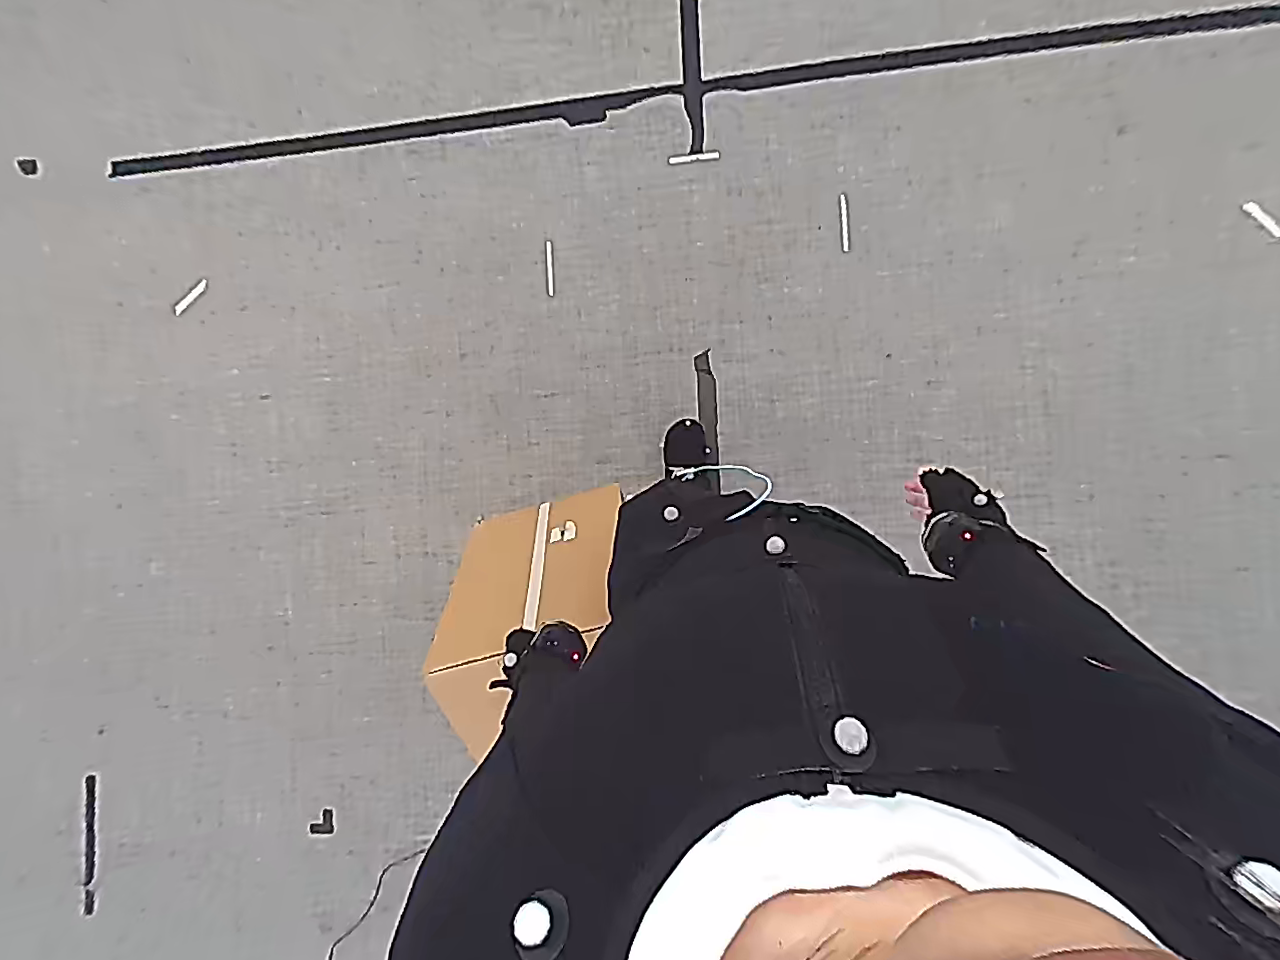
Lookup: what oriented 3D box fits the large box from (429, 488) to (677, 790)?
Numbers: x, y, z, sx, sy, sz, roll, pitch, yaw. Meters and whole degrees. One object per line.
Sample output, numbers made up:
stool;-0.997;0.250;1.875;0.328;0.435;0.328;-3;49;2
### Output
large box;-0.137;0.272;1.010;0.320;0.408;0.320;-15;117;3
